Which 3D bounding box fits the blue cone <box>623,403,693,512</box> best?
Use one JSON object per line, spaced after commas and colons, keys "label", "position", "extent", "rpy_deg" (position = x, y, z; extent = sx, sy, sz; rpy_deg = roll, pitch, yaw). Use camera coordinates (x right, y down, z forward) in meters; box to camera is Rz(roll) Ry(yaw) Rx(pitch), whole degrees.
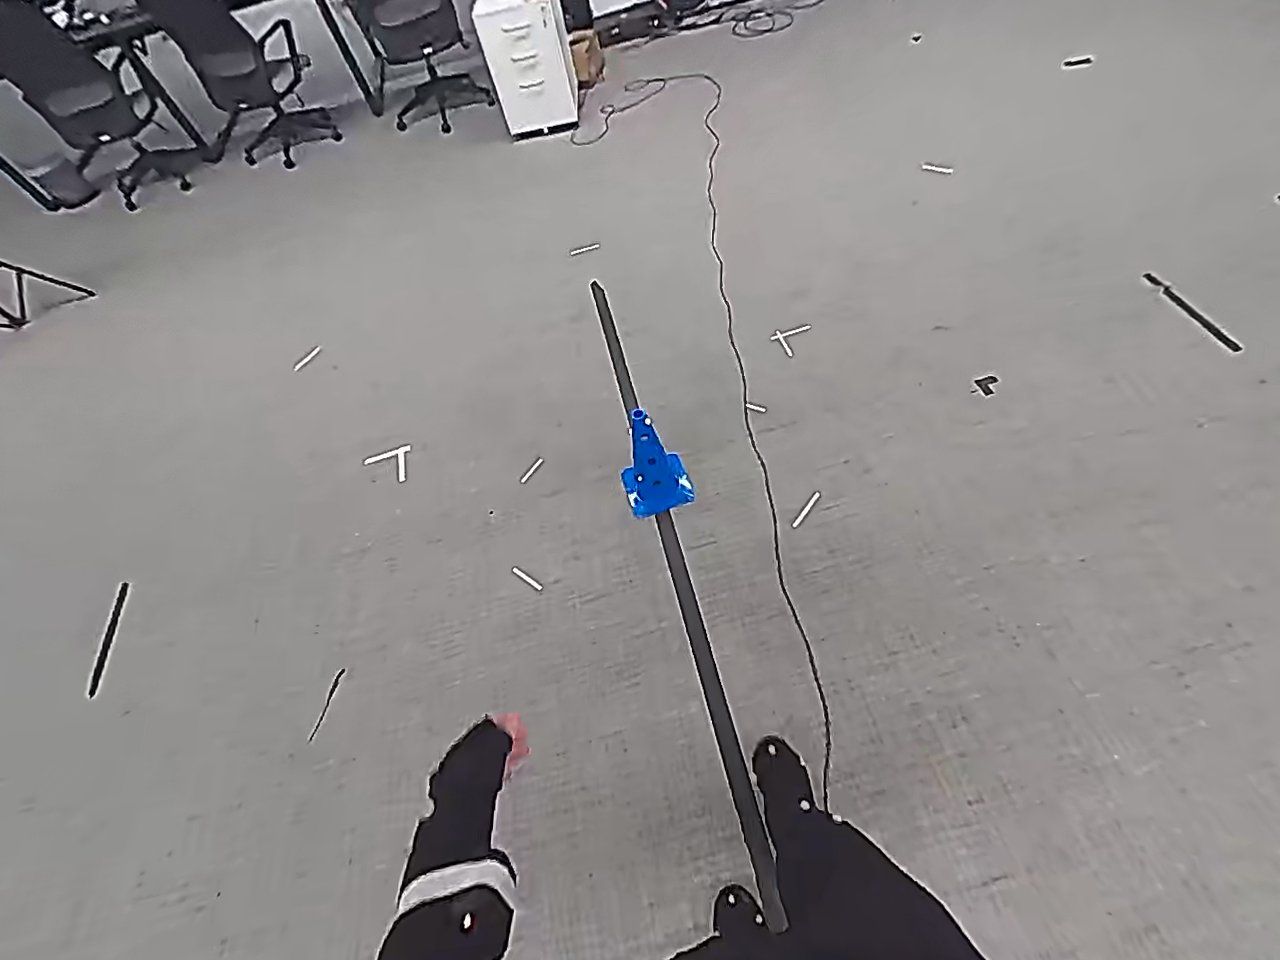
{"label": "blue cone", "position": [0.022, -0.085, 1.579], "extent": [0.192, 0.380, 0.193], "rpy_deg": [-21, 55, -3]}
